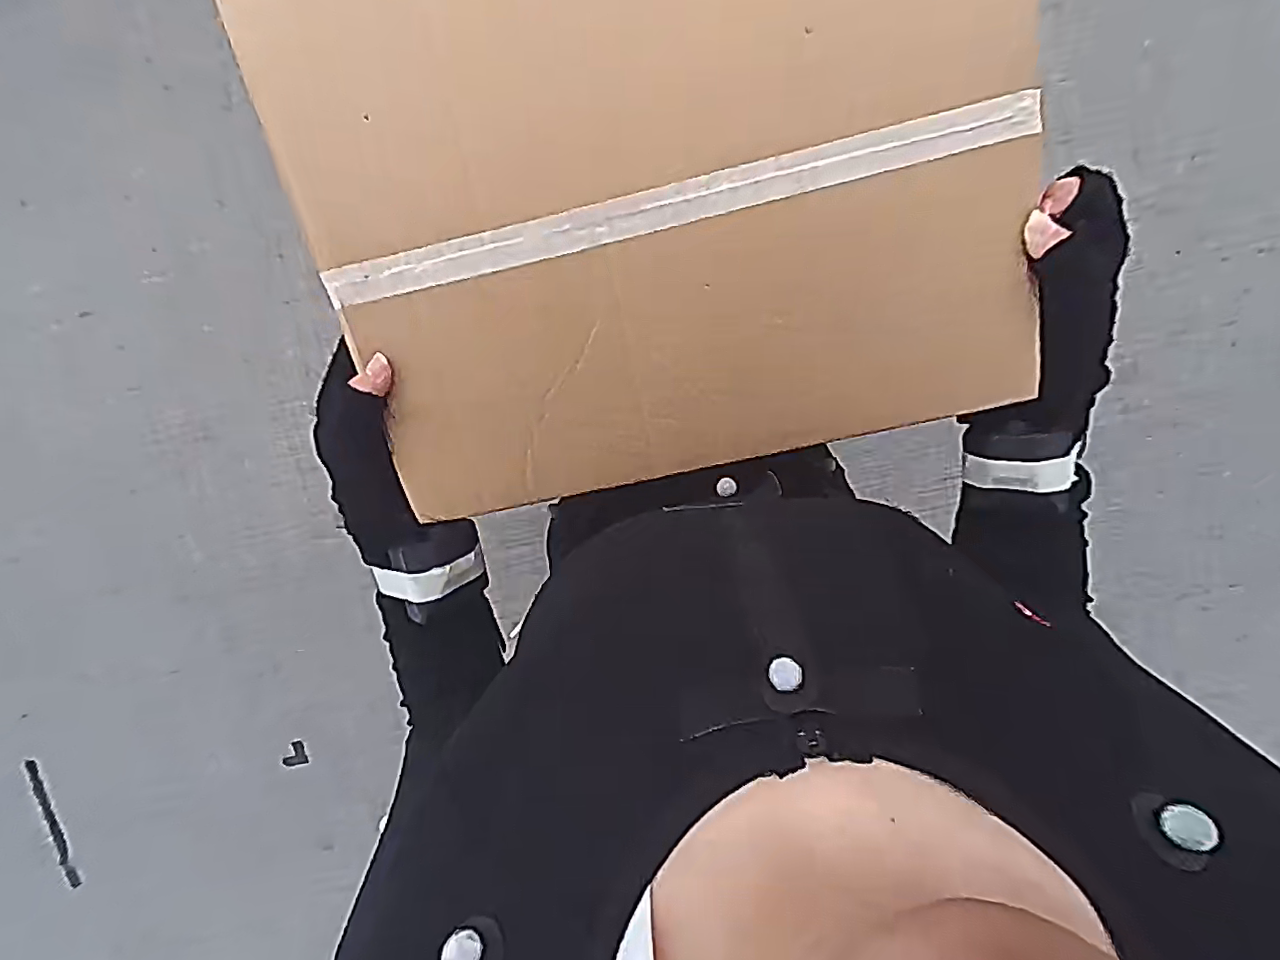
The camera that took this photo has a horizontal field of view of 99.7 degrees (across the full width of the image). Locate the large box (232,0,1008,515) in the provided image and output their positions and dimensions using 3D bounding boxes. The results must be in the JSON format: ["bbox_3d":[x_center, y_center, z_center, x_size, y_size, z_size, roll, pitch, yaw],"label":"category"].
[{"bbox_3d":[0.012,-0.206,0.455,0.408,0.320,0.320,-12,108,5],"label":"large box"}]
